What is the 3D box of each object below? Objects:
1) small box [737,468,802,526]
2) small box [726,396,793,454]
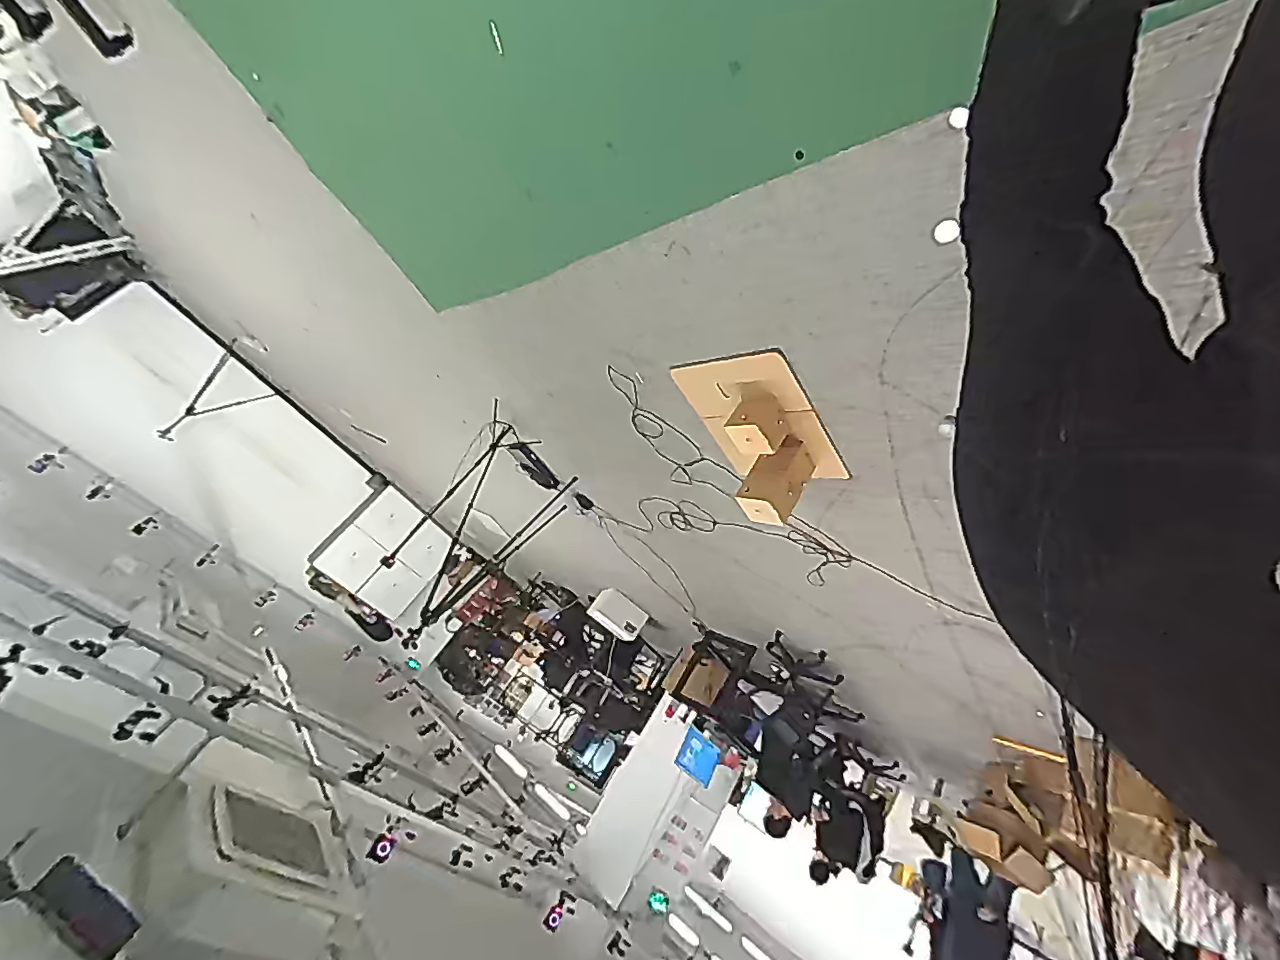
[{"bbox_3d":[0.545,0.066,2.262,0.179,0.176,0.168,6,144,48],"label":"small box"},{"bbox_3d":[0.492,-0.223,2.215,0.179,0.176,0.168,1,138,52],"label":"small box"}]
